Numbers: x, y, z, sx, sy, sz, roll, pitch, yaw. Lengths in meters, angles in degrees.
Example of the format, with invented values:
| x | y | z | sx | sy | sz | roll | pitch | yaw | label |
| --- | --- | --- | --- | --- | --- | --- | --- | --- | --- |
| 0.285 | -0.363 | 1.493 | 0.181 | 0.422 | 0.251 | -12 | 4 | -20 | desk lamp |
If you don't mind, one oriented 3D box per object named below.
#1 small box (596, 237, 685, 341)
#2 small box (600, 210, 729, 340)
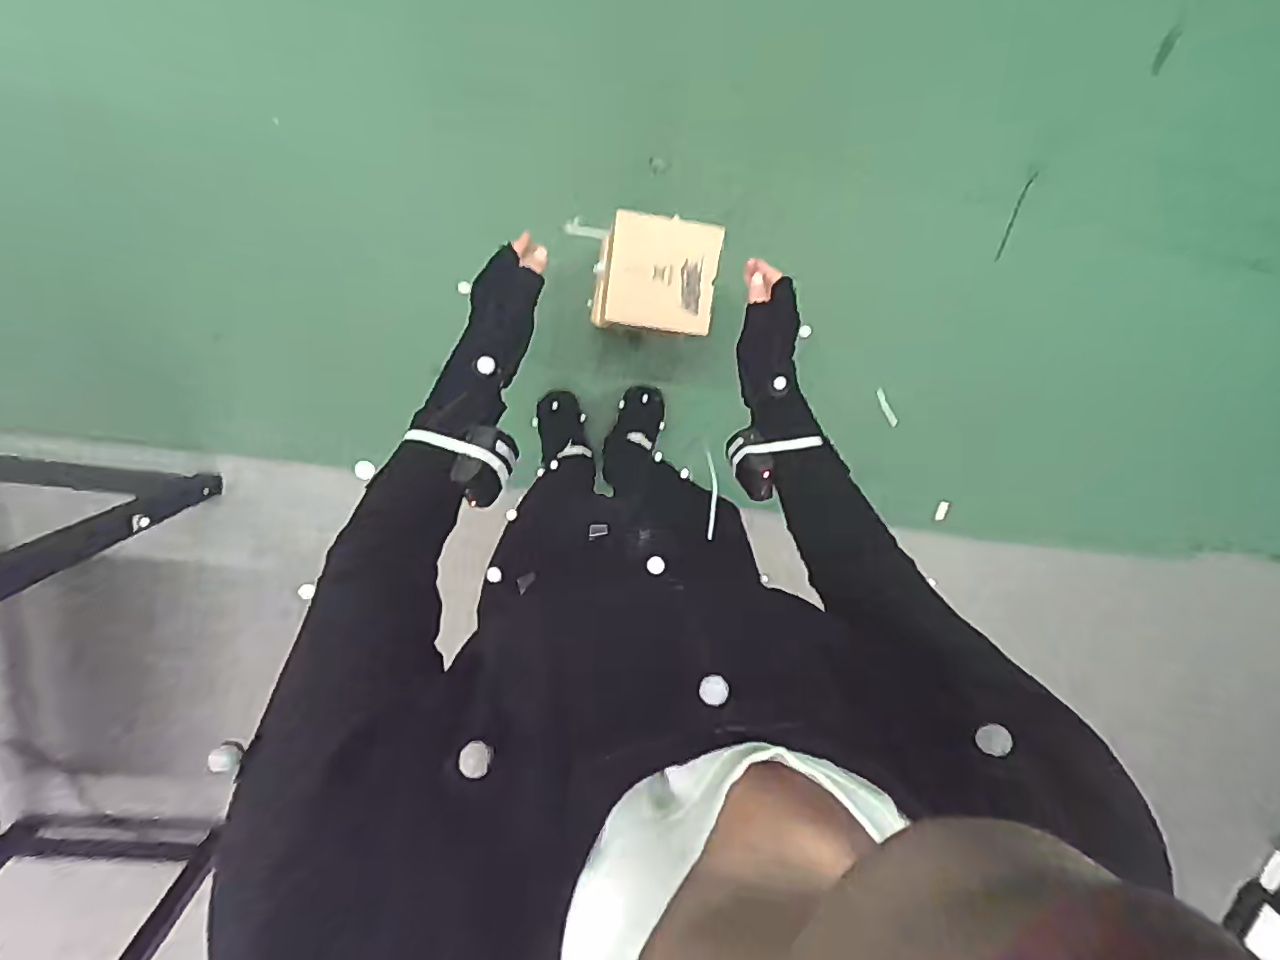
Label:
| x | y | z | sx | sy | sz | roll | pitch | yaw | label |
| --- | --- | --- | --- | --- | --- | --- | --- | --- | --- |
| 0.007 | -0.379 | 1.096 | 0.179 | 0.176 | 0.168 | 7 | 105 | -9 | small box |
| 0.032 | -0.343 | 0.935 | 0.179 | 0.176 | 0.168 | 9 | 103 | -9 | small box |
